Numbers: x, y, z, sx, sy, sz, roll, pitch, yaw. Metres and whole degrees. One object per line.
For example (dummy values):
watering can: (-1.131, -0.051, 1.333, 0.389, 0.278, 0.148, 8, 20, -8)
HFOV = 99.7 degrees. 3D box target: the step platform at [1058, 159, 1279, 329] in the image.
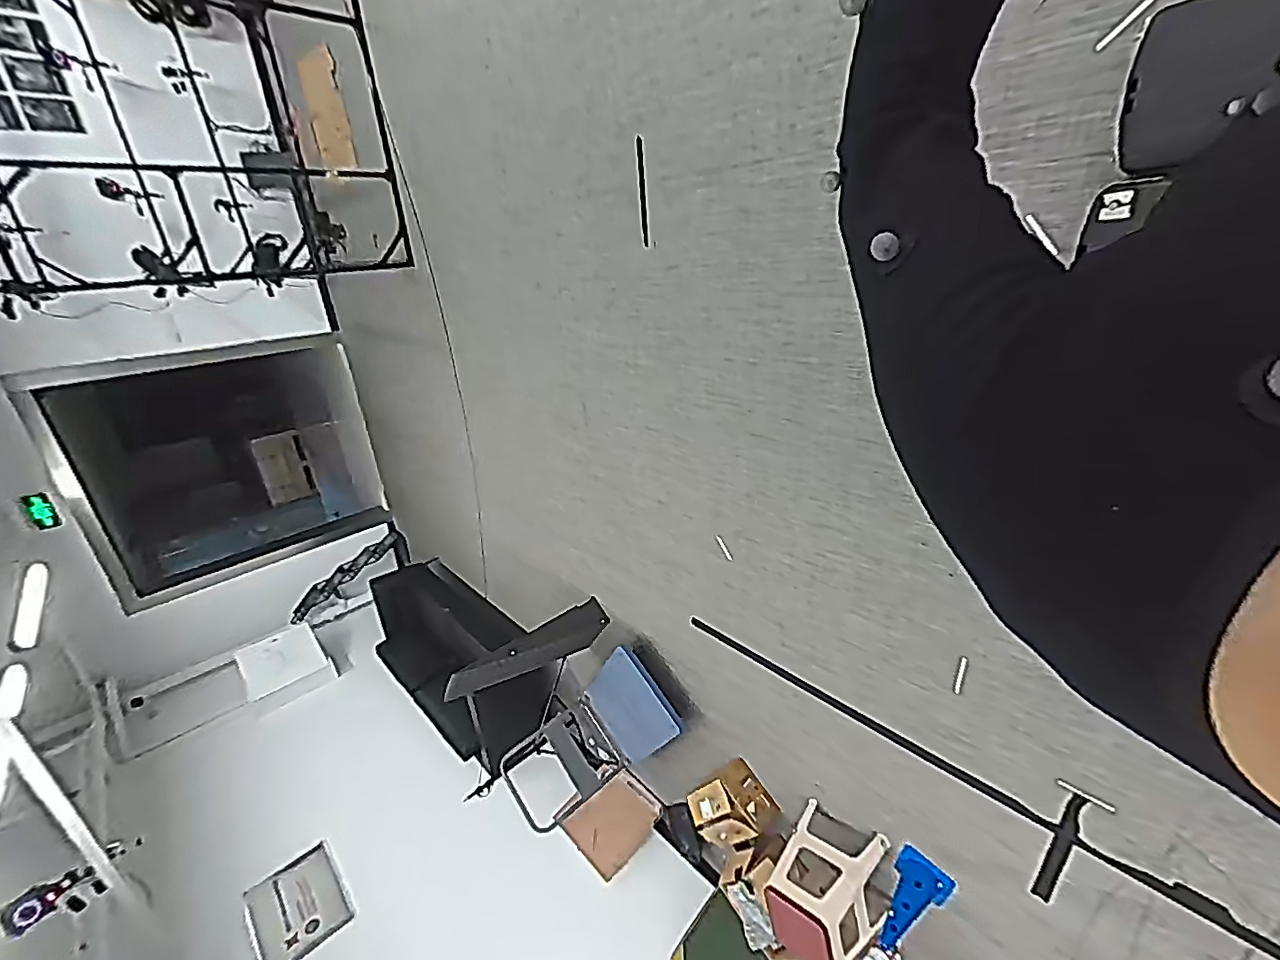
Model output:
step platform: (1.189, -0.426, 0.974, 0.684, 0.204, 0.286, 19, 122, 46)
